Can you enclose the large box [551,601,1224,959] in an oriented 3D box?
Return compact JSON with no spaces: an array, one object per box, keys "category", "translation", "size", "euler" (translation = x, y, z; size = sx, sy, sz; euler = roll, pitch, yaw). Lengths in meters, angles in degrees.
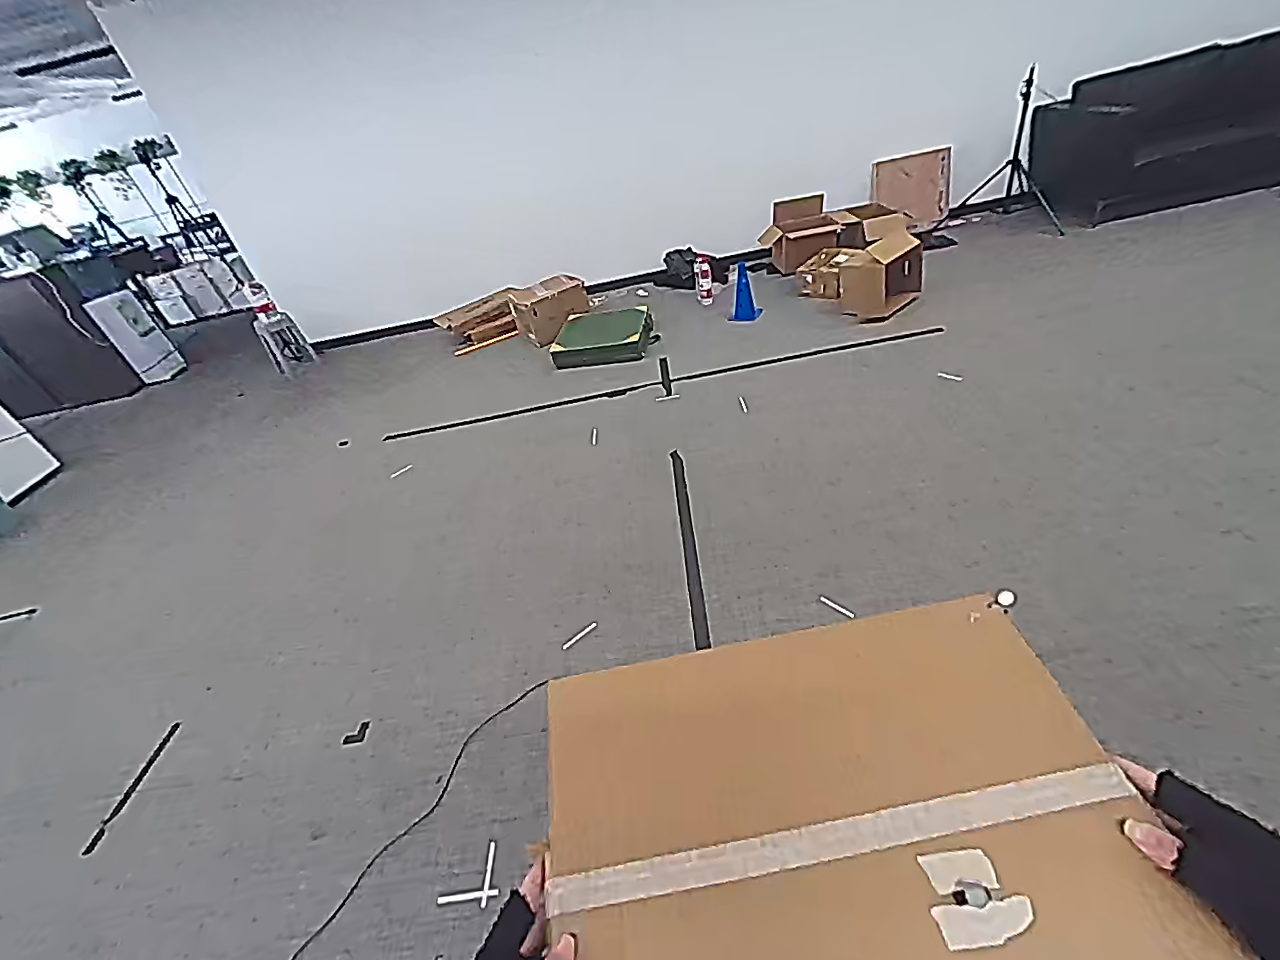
[{"category":"large box","translation":[0.153,0.360,0.491],"size":[0.408,0.320,0.320],"euler":[-11,45,-1]}]
